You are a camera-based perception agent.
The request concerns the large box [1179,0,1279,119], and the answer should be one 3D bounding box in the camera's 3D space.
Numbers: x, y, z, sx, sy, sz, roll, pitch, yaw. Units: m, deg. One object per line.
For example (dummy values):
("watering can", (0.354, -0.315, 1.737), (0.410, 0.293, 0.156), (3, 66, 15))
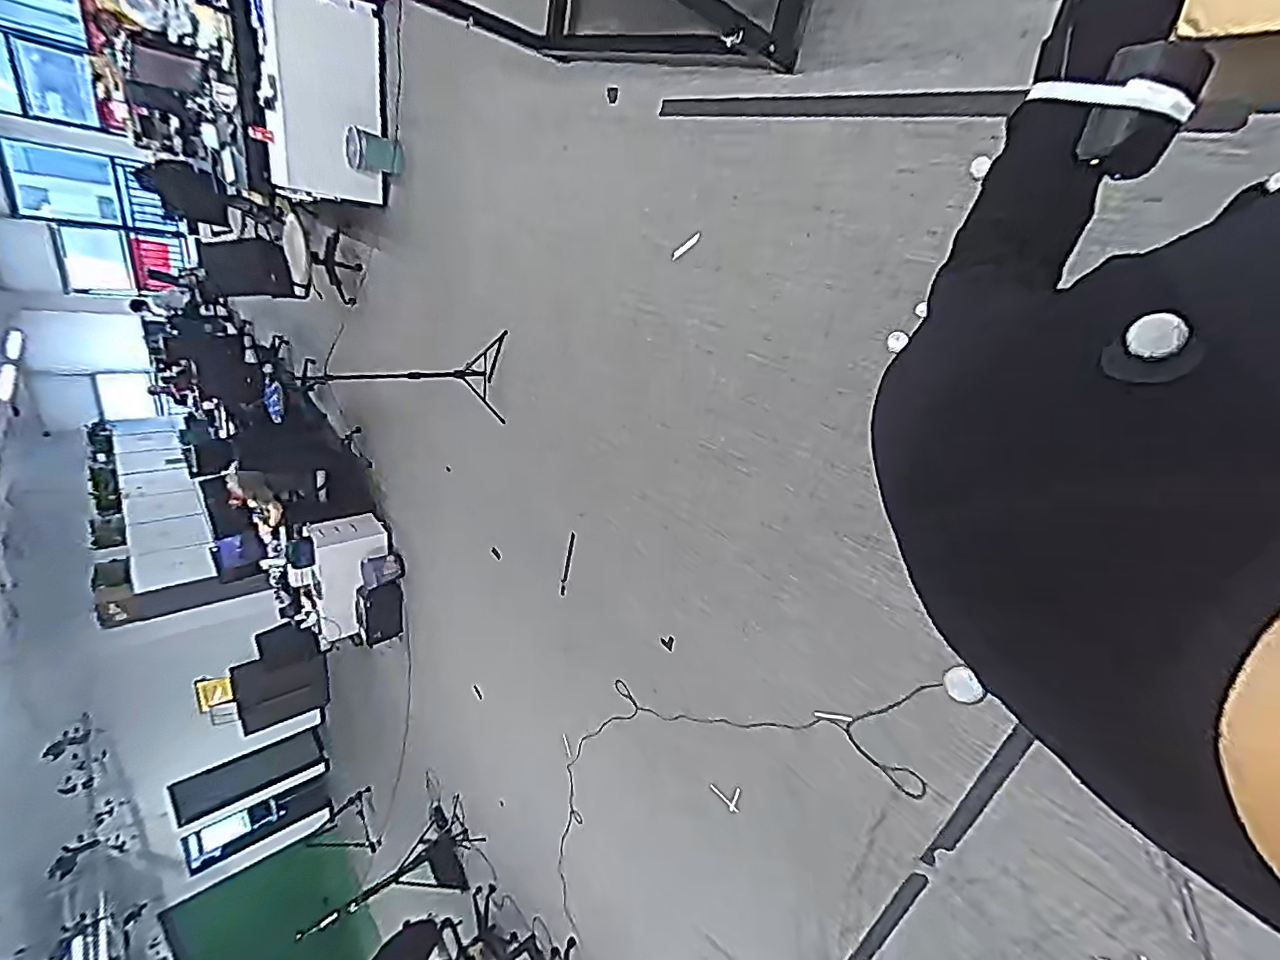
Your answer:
("large box", (0.579, -0.376, 0.243), (0.408, 0.320, 0.320), (26, 127, 37))
